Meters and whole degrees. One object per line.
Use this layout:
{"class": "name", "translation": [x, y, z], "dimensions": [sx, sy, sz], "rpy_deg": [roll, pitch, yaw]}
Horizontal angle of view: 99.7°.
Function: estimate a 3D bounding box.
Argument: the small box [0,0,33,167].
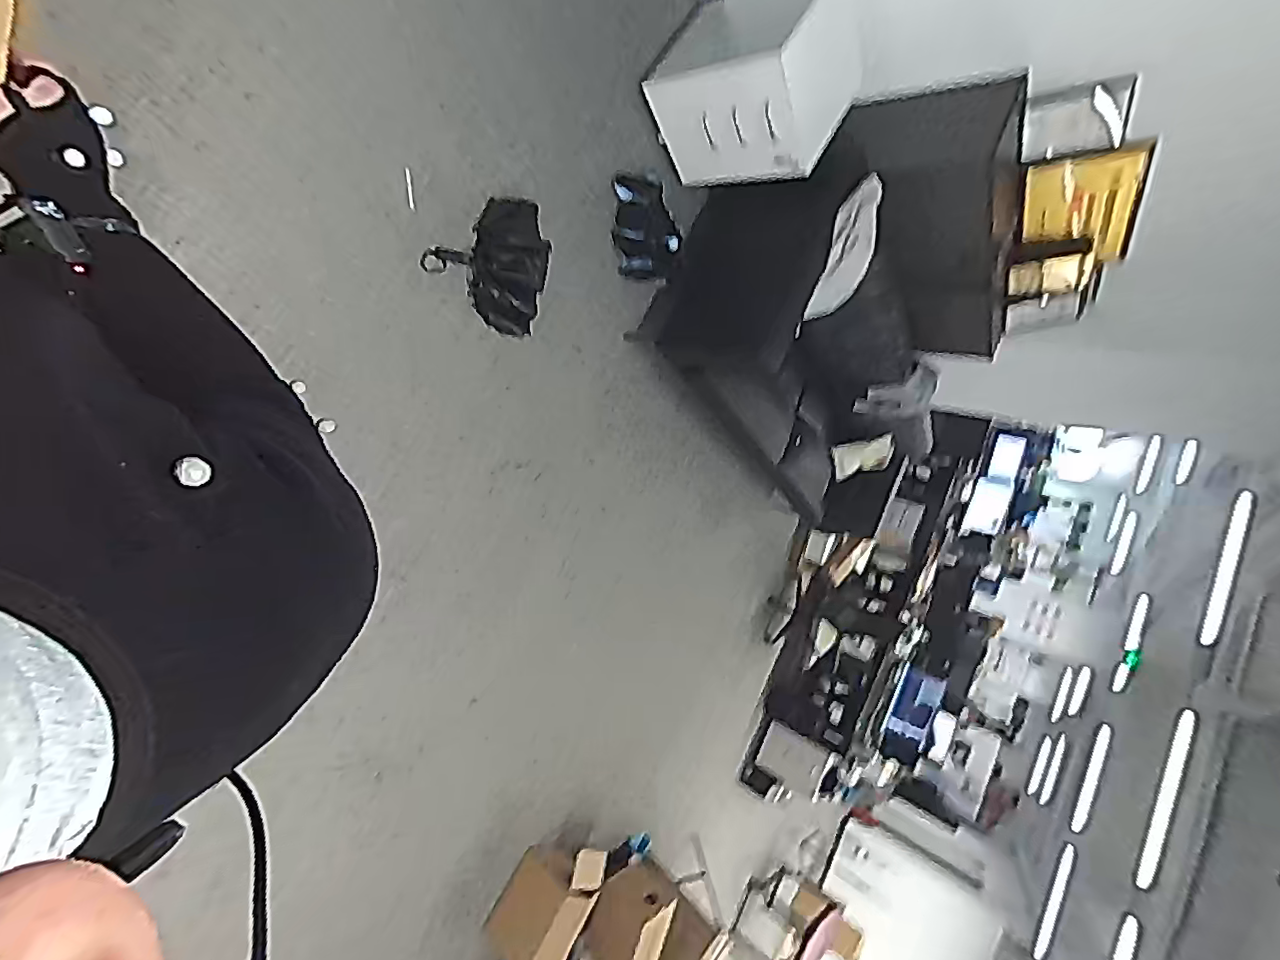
{"class": "small box", "translation": [-0.611, -0.384, 0.423], "dimensions": [0.168, 0.176, 0.179], "rpy_deg": [7, 92, -45]}
